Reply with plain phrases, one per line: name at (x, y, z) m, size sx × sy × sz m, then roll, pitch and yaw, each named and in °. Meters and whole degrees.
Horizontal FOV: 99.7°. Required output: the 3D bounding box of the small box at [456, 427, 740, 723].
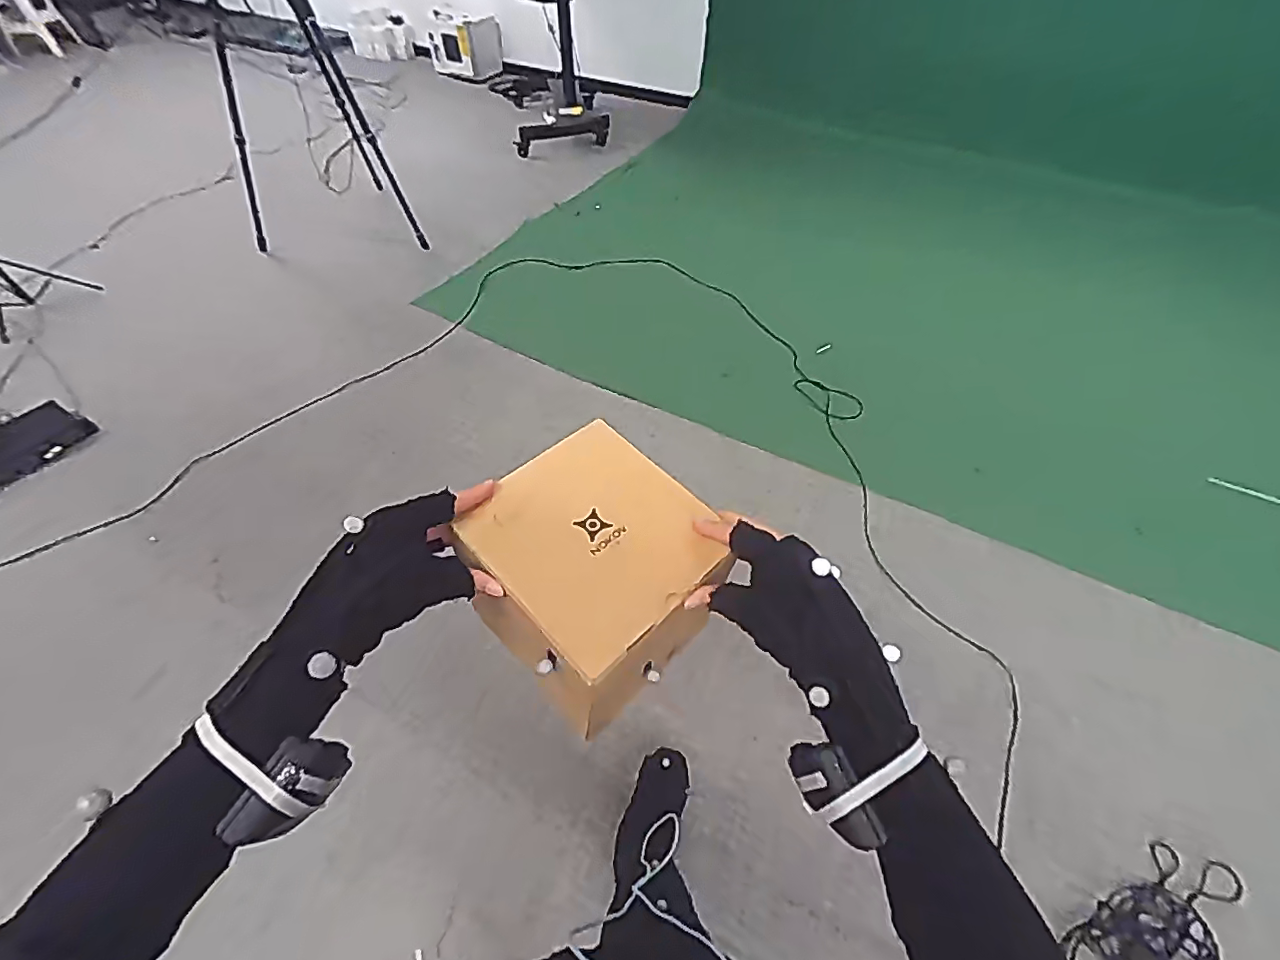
small box at (-0.043, 0.090, 0.500) m, size 0.168 × 0.176 × 0.179 m, roll -36°, pitch 66°, yaw -30°
